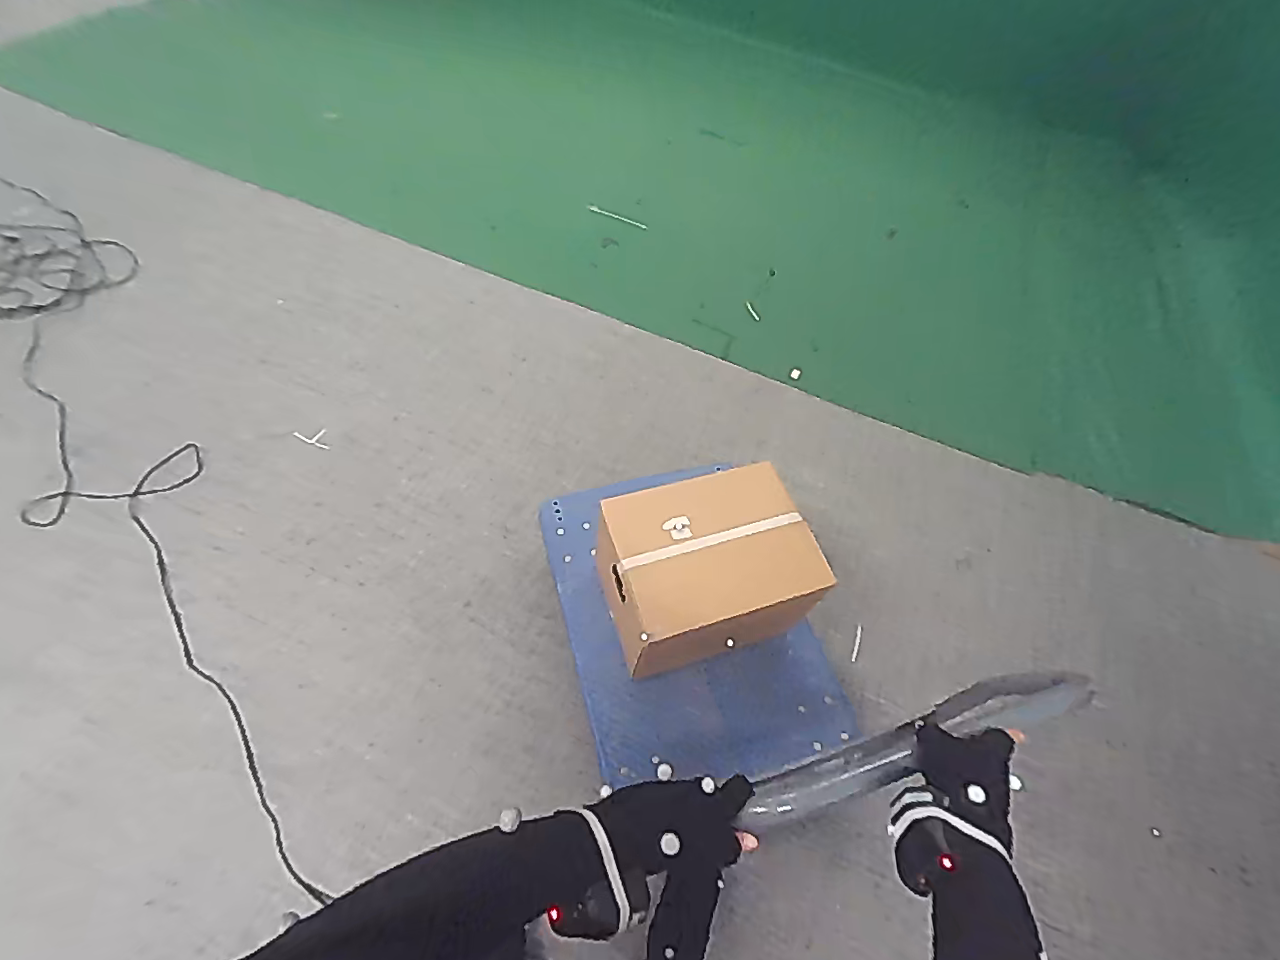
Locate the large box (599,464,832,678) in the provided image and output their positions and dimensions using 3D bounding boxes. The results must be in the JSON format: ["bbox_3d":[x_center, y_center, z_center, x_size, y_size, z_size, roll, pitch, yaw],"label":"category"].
[{"bbox_3d":[0.142,0.211,1.233,0.408,0.320,0.320,-14,60,-14],"label":"large box"}]
